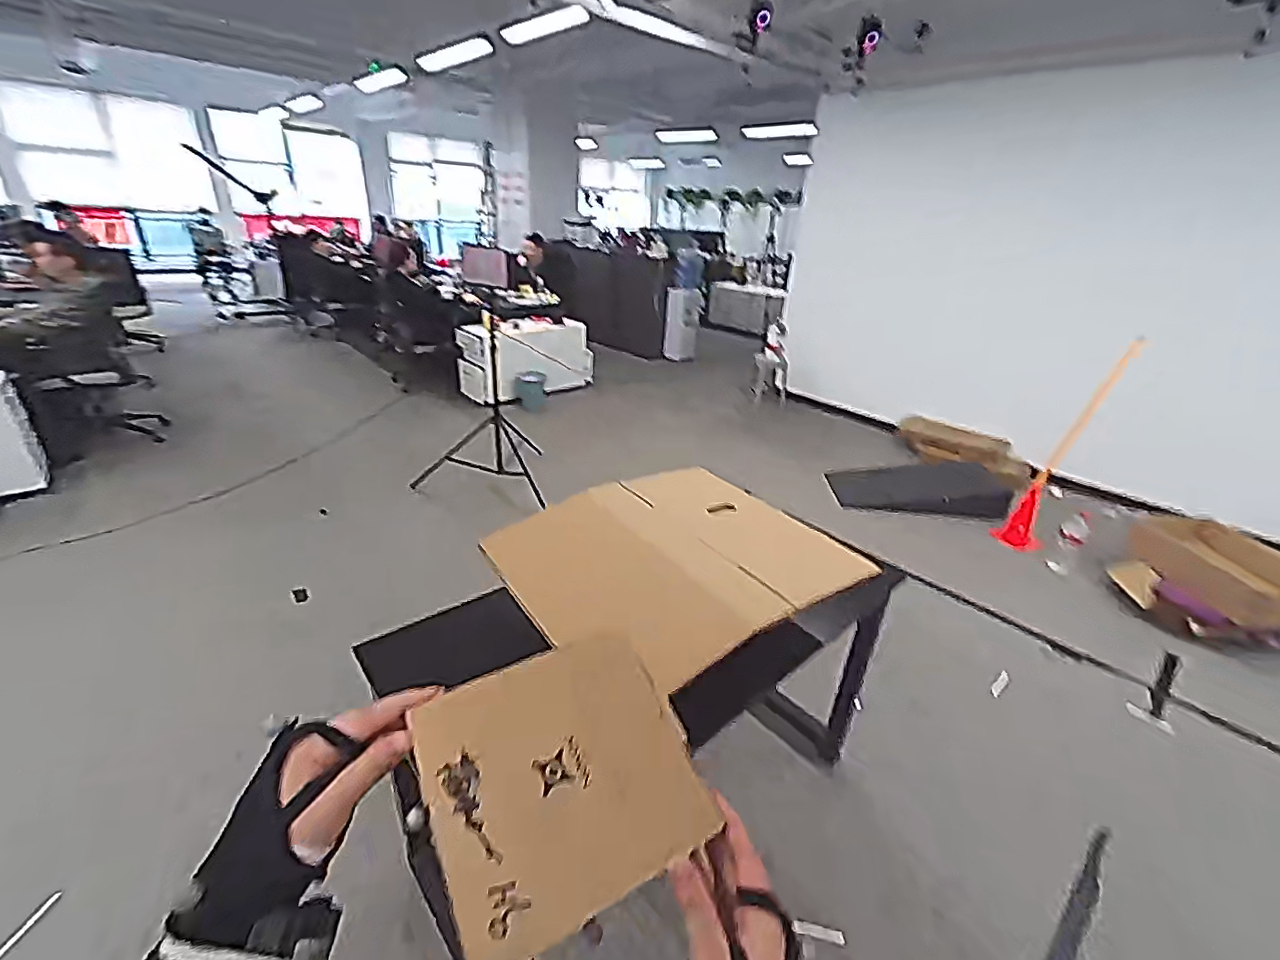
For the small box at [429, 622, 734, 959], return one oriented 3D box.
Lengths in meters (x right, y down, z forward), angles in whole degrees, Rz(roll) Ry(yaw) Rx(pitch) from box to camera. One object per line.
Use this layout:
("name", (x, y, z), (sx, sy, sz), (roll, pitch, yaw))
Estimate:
("small box", (-0.061, 0.249, 0.439), (0.179, 0.176, 0.168), (-14, 53, -28))
